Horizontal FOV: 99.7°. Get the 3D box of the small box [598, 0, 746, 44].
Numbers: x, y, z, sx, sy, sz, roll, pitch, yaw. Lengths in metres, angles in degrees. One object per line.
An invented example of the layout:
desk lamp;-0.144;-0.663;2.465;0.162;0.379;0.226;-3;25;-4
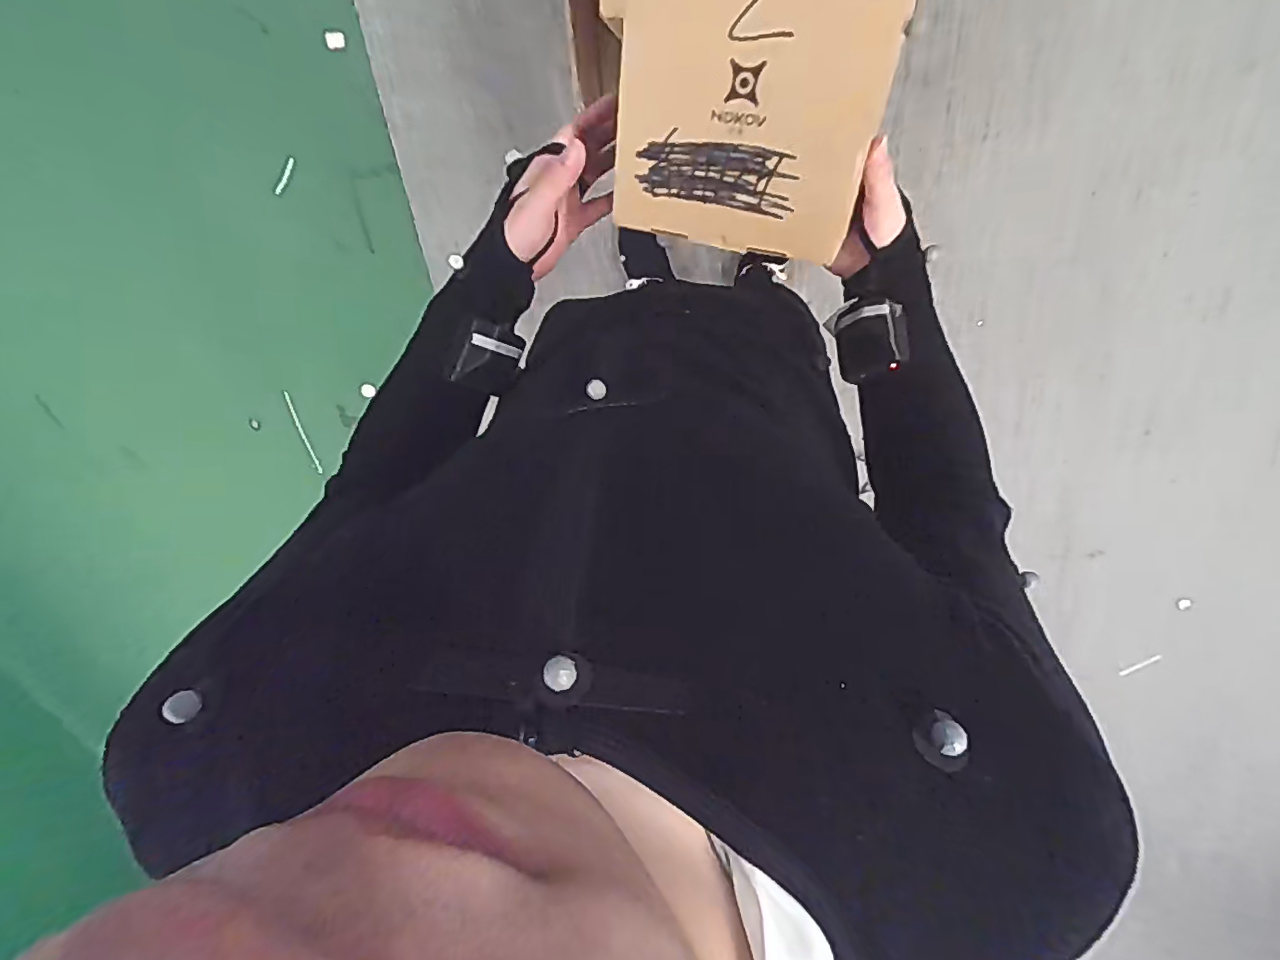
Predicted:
small box;0.048;-0.634;0.632;0.168;0.176;0.179;6;119;6
